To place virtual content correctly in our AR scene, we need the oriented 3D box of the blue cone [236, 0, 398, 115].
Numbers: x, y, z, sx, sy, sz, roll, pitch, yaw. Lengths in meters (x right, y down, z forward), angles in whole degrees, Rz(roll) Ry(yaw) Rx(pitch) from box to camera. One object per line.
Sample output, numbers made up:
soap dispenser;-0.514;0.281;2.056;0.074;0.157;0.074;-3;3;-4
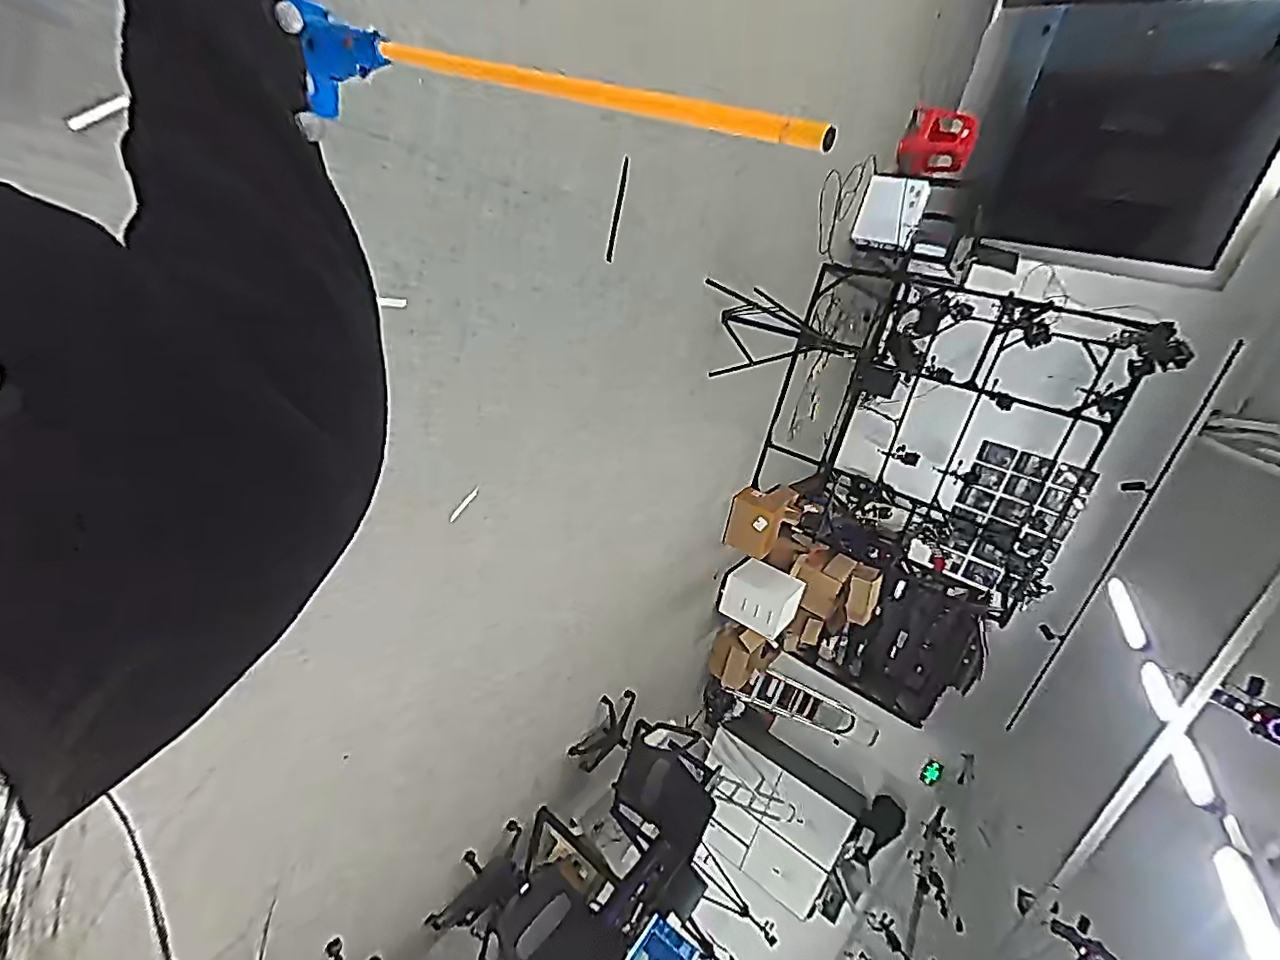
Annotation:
blue cone;-0.588;-0.823;1.039;0.193;0.380;0.192;-21;128;-52
